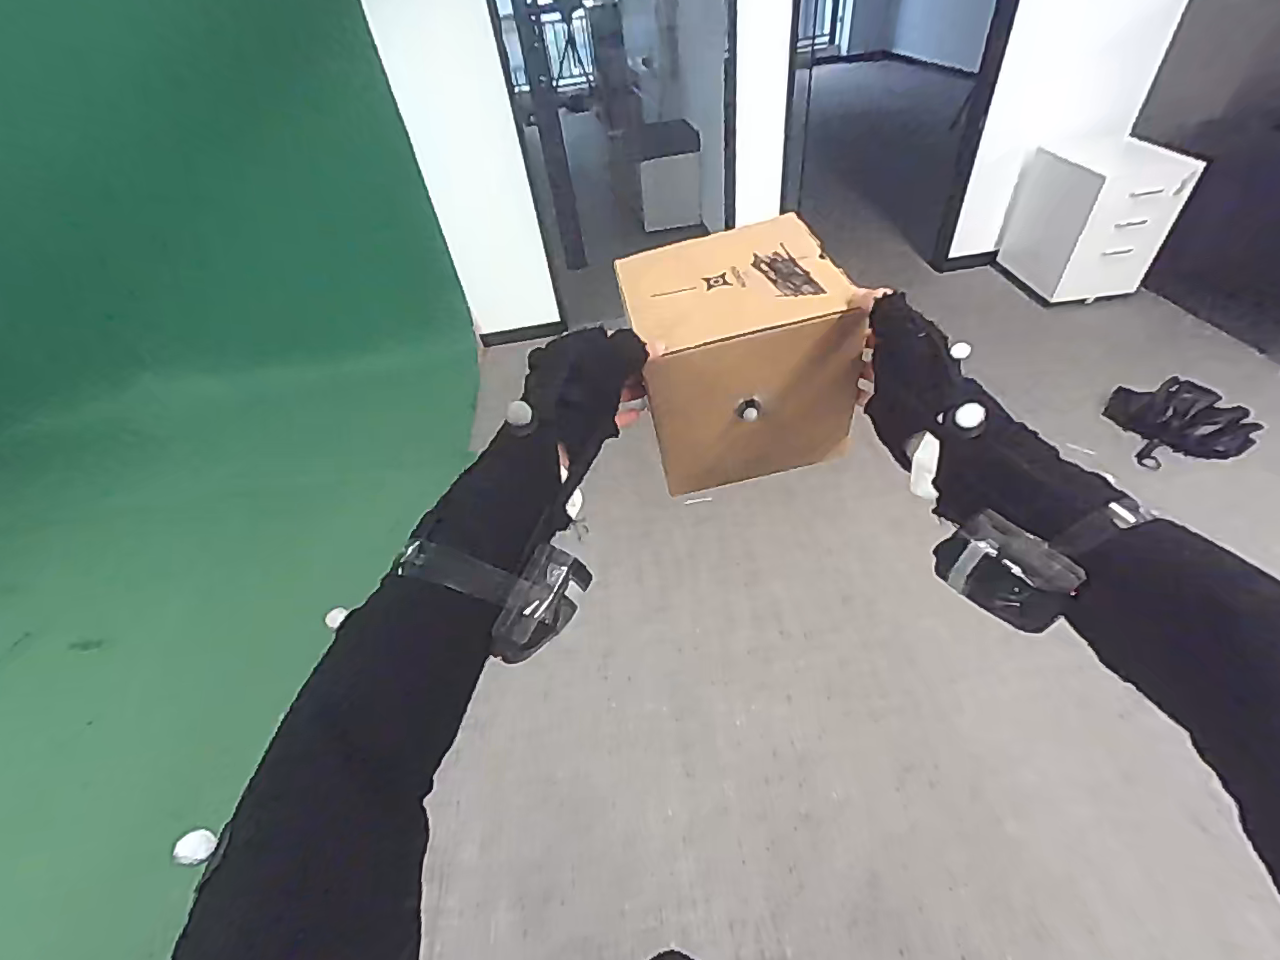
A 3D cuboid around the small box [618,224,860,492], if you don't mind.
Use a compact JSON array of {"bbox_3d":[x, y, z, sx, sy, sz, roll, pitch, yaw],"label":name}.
[{"bbox_3d":[0.087,-0.114,0.526,0.179,0.176,0.168,-14,47,2],"label":"small box"}]
